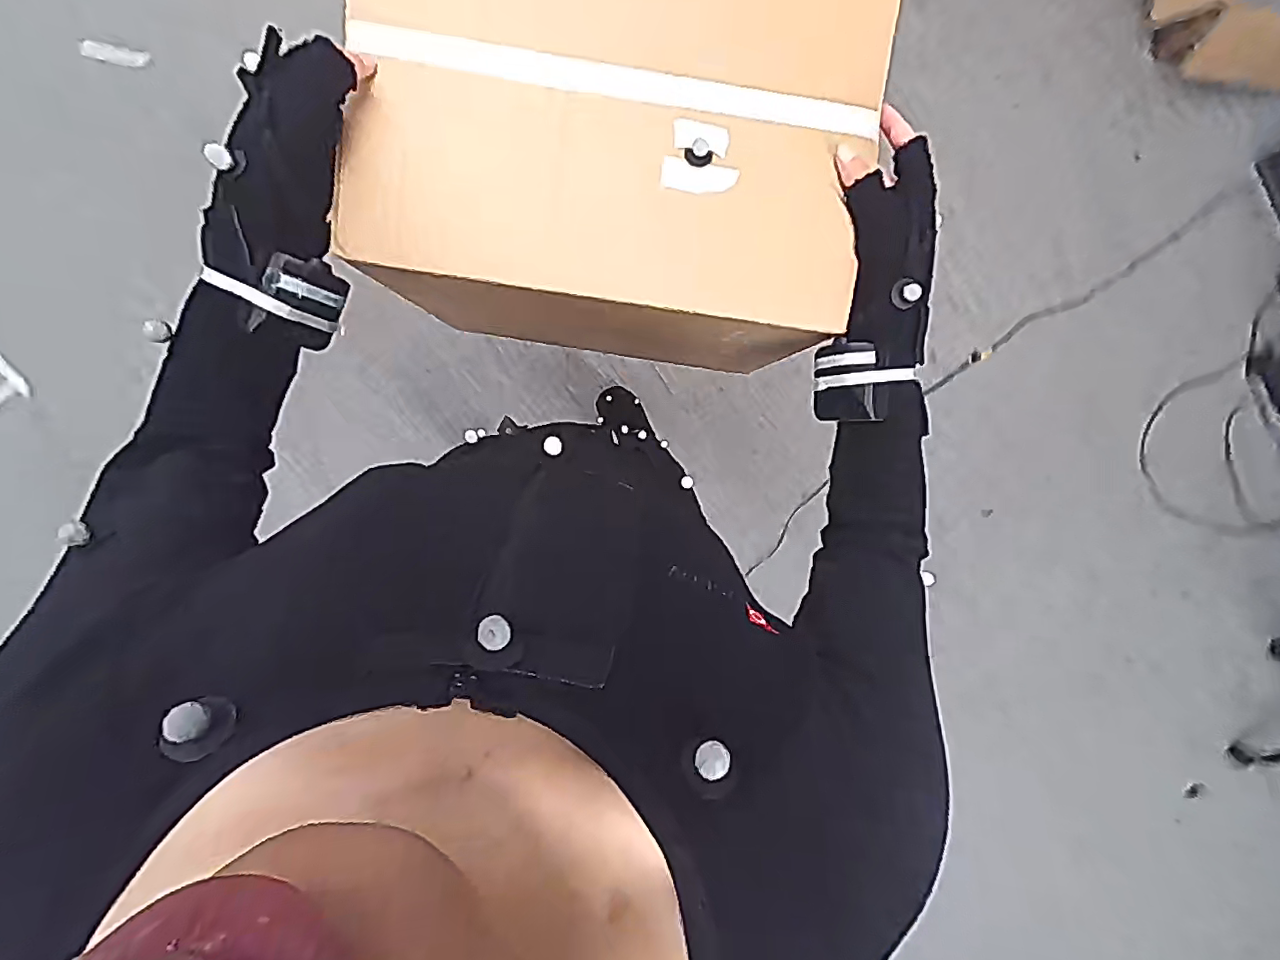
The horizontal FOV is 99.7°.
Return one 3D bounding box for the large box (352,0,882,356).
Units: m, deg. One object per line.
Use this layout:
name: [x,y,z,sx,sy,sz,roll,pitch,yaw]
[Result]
large box: [-0.024,-0.325,0.569,0.408,0.320,0.320,6,96,-4]
